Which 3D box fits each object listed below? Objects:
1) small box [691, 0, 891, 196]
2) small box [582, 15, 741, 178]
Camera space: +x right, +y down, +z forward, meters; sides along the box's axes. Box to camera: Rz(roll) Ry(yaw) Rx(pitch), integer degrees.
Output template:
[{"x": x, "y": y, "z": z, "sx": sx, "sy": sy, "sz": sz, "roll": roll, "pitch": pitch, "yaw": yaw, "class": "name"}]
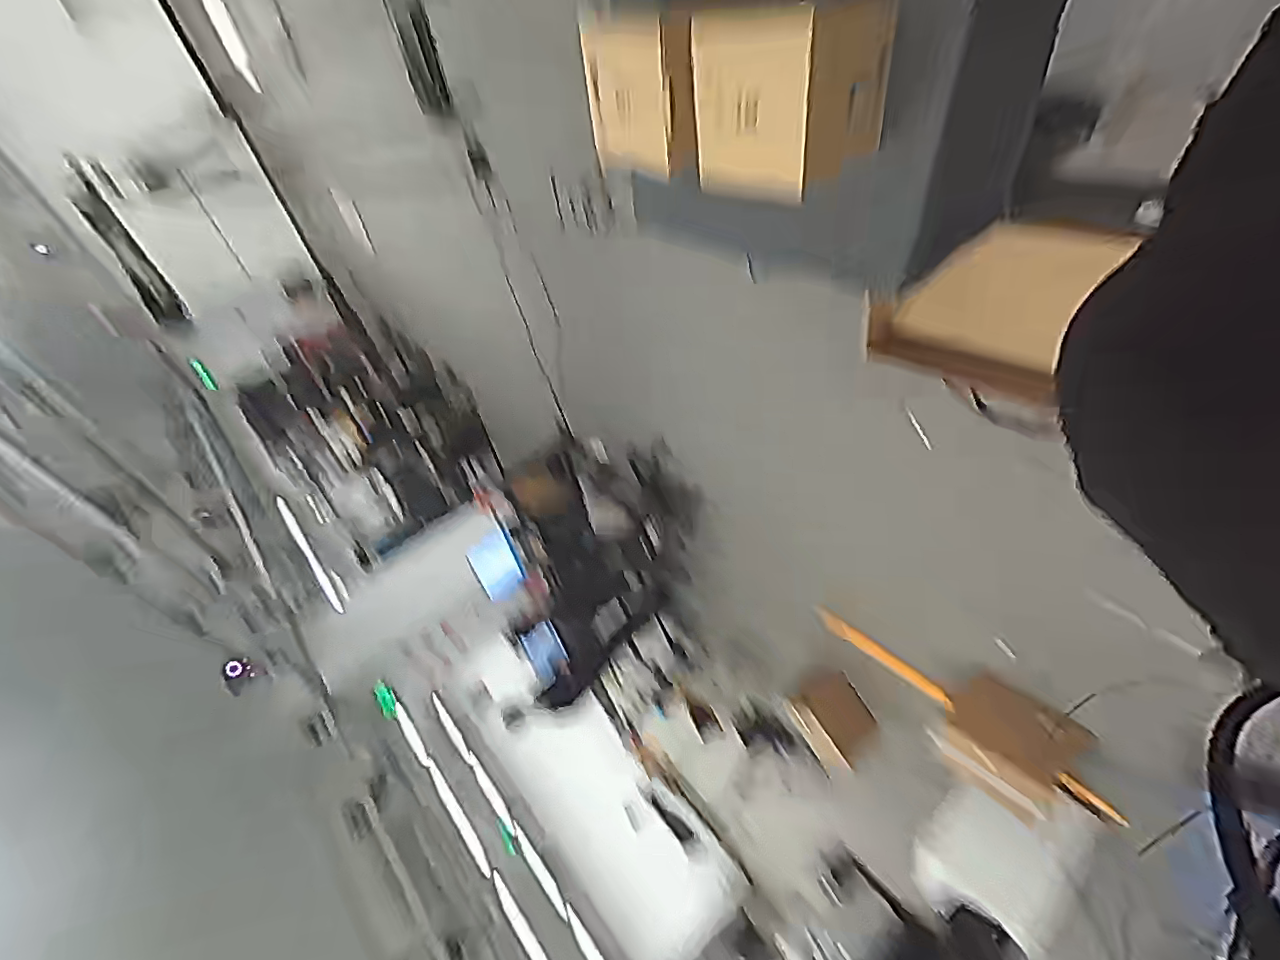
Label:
[{"x": 0.191, "y": -0.488, "z": 0.693, "sx": 0.179, "sy": 0.176, "sz": 0.168, "roll": 34, "pitch": 150, "yaw": 38, "class": "small box"}, {"x": 0.041, "y": -0.593, "z": 0.830, "sx": 0.179, "sy": 0.176, "sz": 0.168, "roll": 35, "pitch": 150, "yaw": 33, "class": "small box"}]
